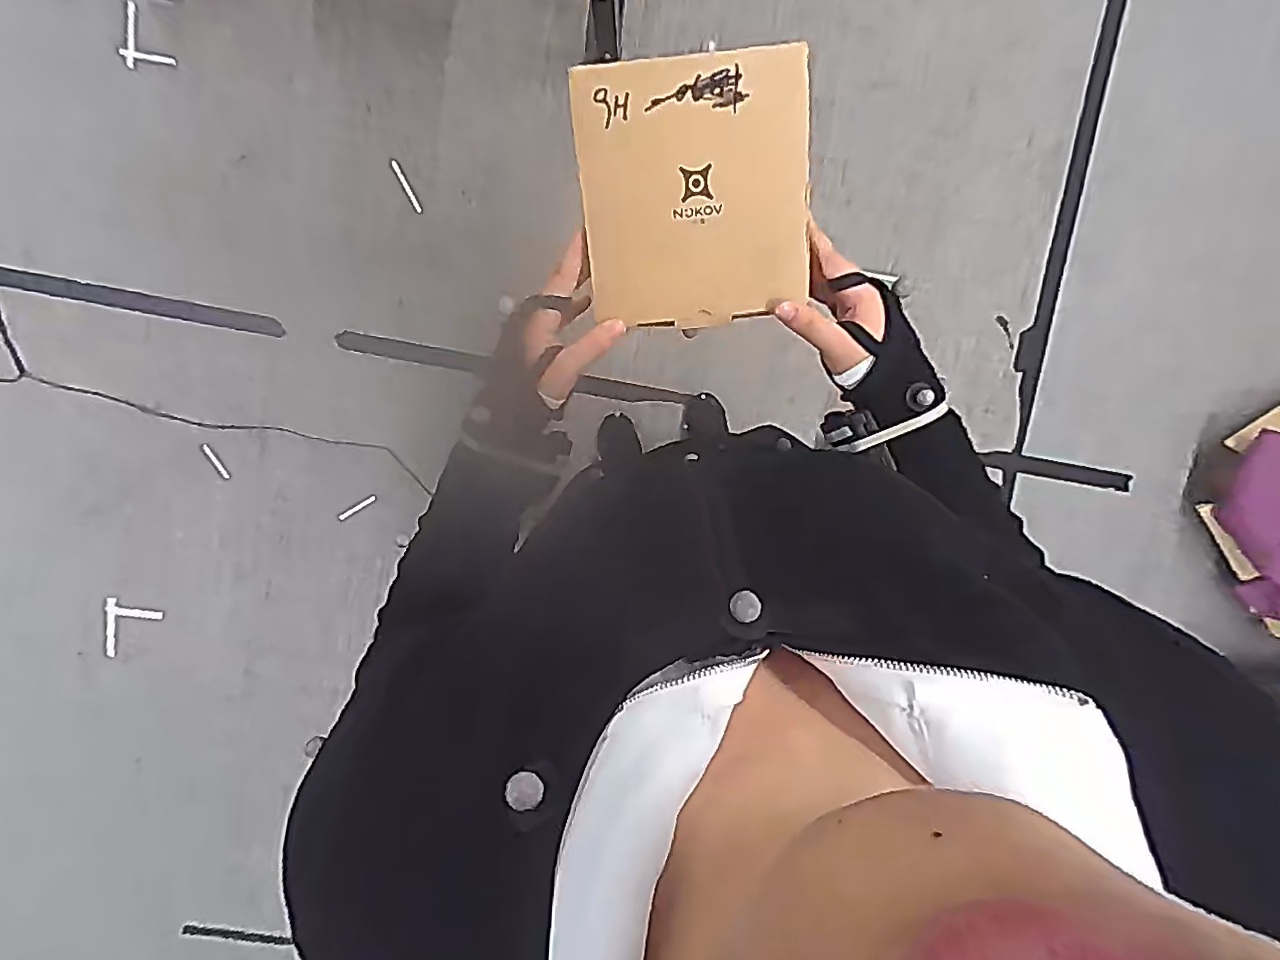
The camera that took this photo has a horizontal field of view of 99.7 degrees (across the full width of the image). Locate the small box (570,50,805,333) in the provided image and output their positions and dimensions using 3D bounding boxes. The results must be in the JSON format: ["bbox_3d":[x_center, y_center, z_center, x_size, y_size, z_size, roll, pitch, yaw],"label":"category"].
[{"bbox_3d":[0.039,-0.233,0.475,0.168,0.176,0.179,-6,109,1],"label":"small box"}]
